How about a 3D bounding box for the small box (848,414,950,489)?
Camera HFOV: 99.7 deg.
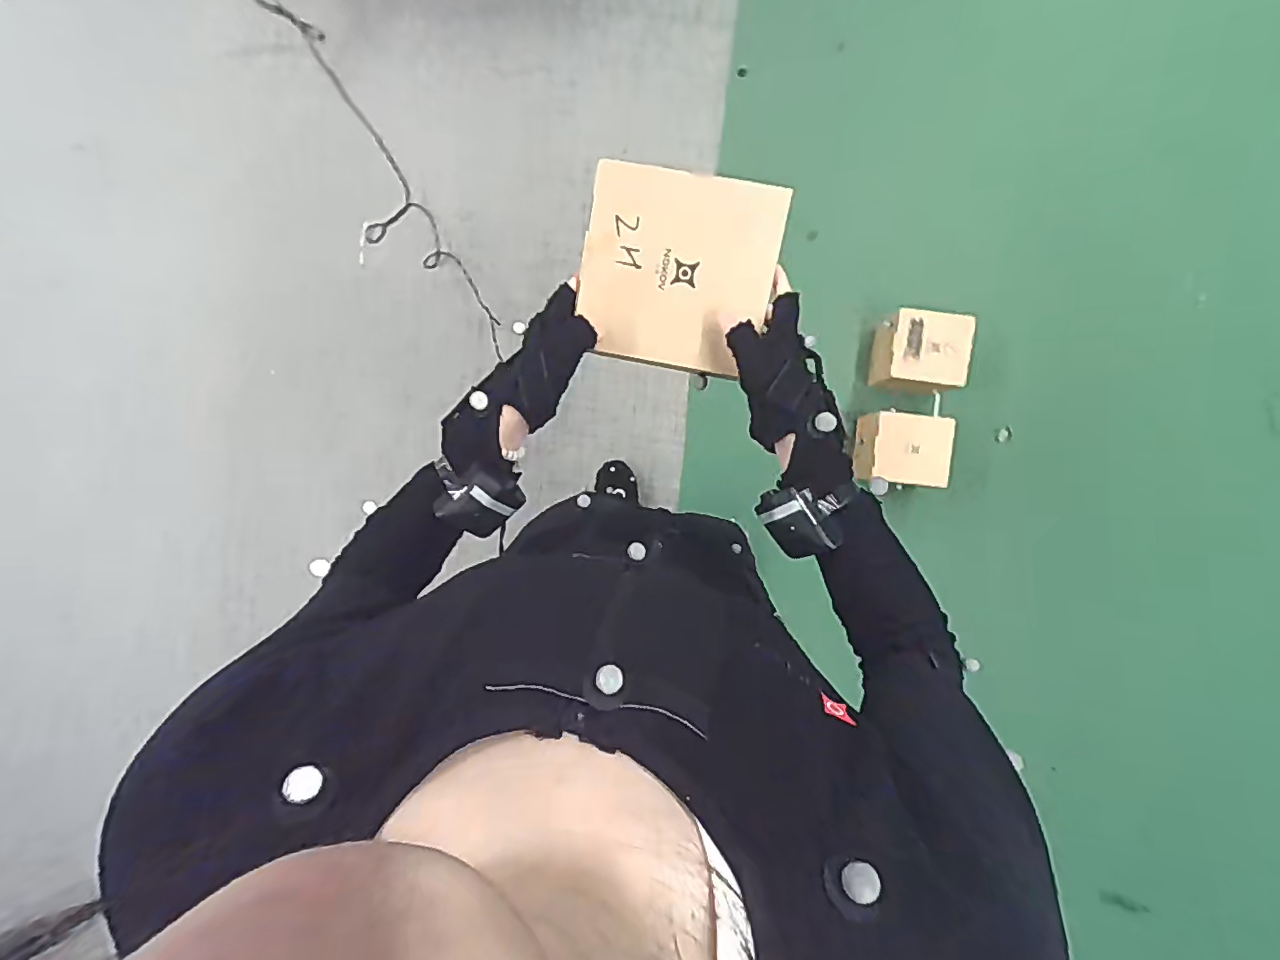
[{"bbox_3d":[0.648,-0.073,1.368,0.179,0.176,0.168,7,92,6],"label":"small box"}]
